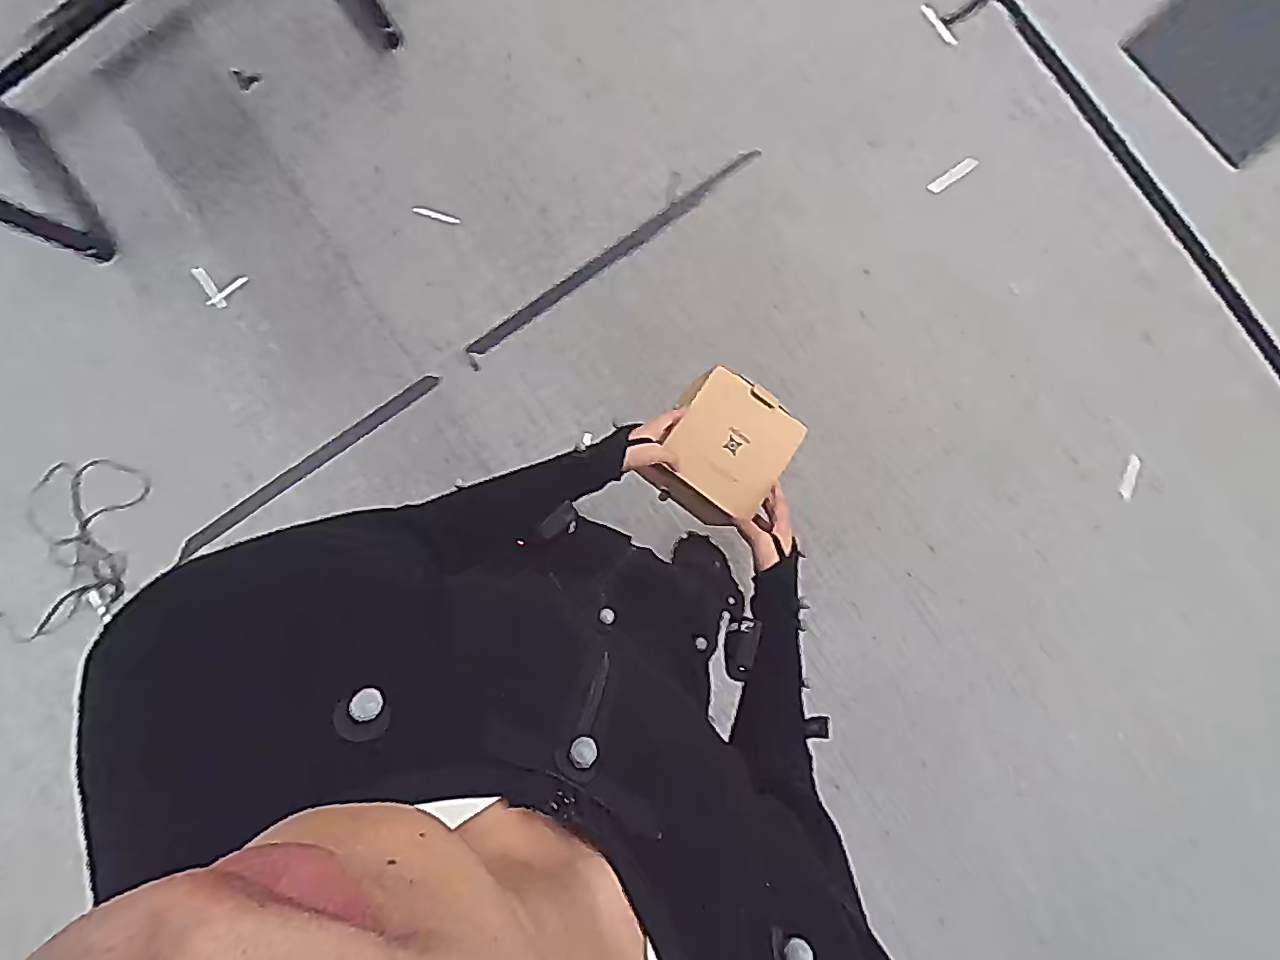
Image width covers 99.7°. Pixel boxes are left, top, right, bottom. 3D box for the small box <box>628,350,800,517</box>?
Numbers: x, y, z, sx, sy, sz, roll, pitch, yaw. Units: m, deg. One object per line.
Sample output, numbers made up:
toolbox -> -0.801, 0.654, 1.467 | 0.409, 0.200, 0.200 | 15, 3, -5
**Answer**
small box -> 0.101, -0.060, 0.820 | 0.168, 0.176, 0.179 | 36, 79, -8
